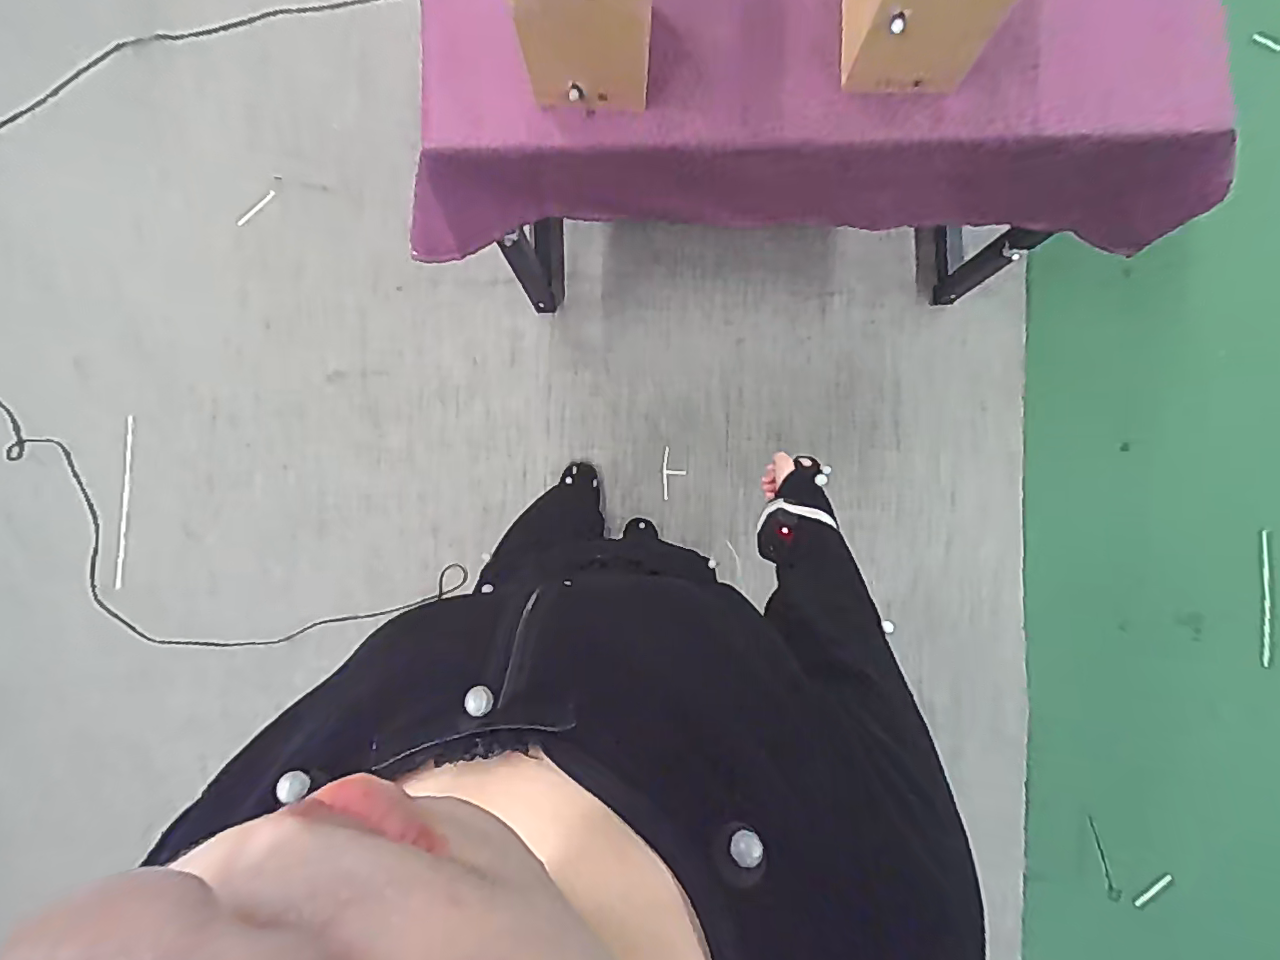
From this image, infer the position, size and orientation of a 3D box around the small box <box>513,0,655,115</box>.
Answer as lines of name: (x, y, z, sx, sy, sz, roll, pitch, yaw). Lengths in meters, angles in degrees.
small box: (-0.066, -0.647, 0.737, 0.168, 0.176, 0.179, 5, 88, 2)

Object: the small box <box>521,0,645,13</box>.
small box: (-0.070, -0.655, 0.572, 0.168, 0.176, 0.179, 4, 86, 3)
